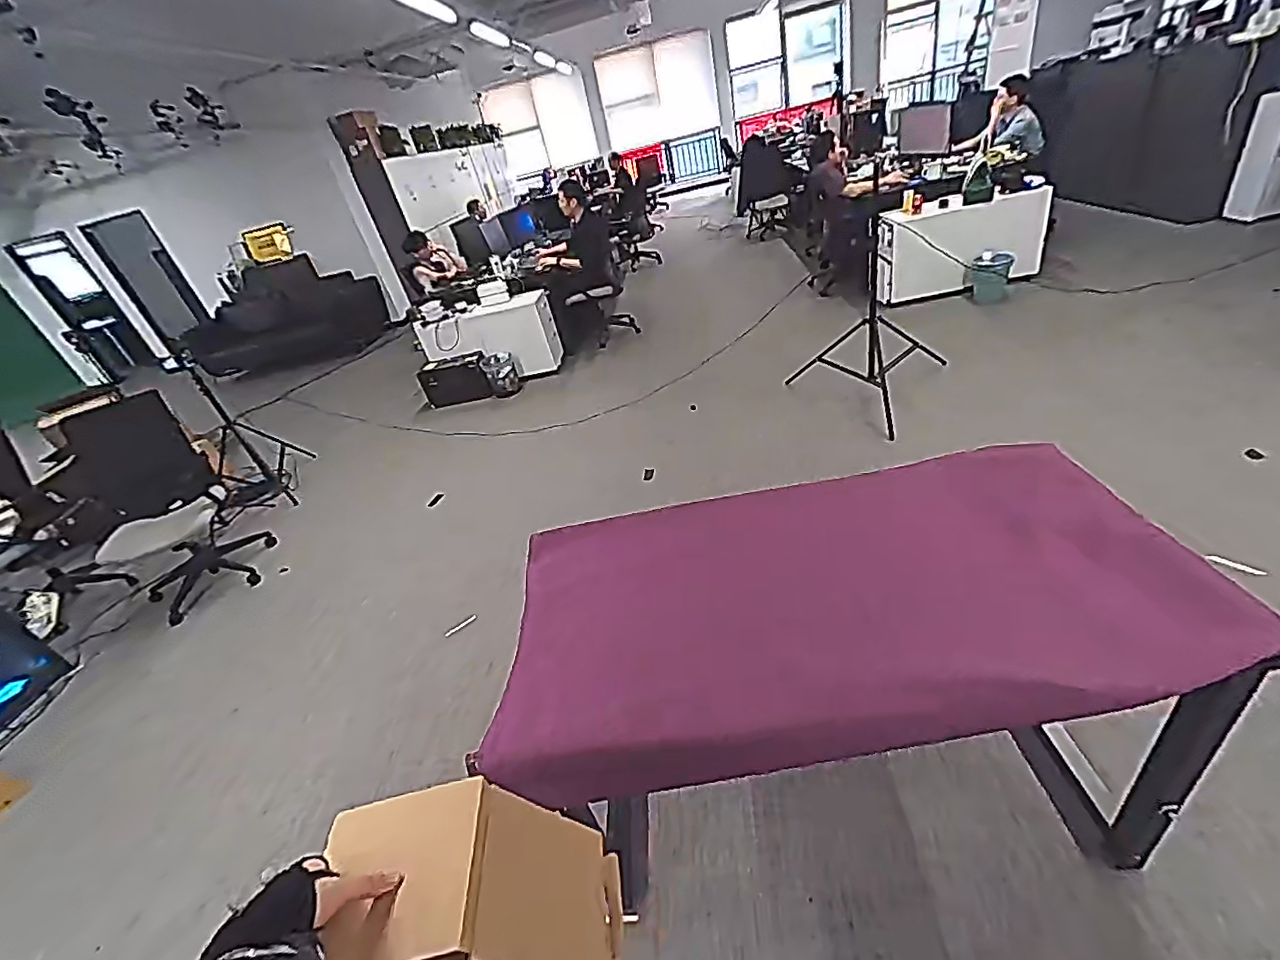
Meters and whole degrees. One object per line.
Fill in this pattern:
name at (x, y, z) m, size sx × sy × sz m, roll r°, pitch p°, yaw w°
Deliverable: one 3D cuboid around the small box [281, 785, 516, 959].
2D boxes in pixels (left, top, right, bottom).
small box at (-0.238, 0.467, 0.579) m, size 0.179 × 0.176 × 0.168 m, roll -9°, pitch 27°, yaw -3°
